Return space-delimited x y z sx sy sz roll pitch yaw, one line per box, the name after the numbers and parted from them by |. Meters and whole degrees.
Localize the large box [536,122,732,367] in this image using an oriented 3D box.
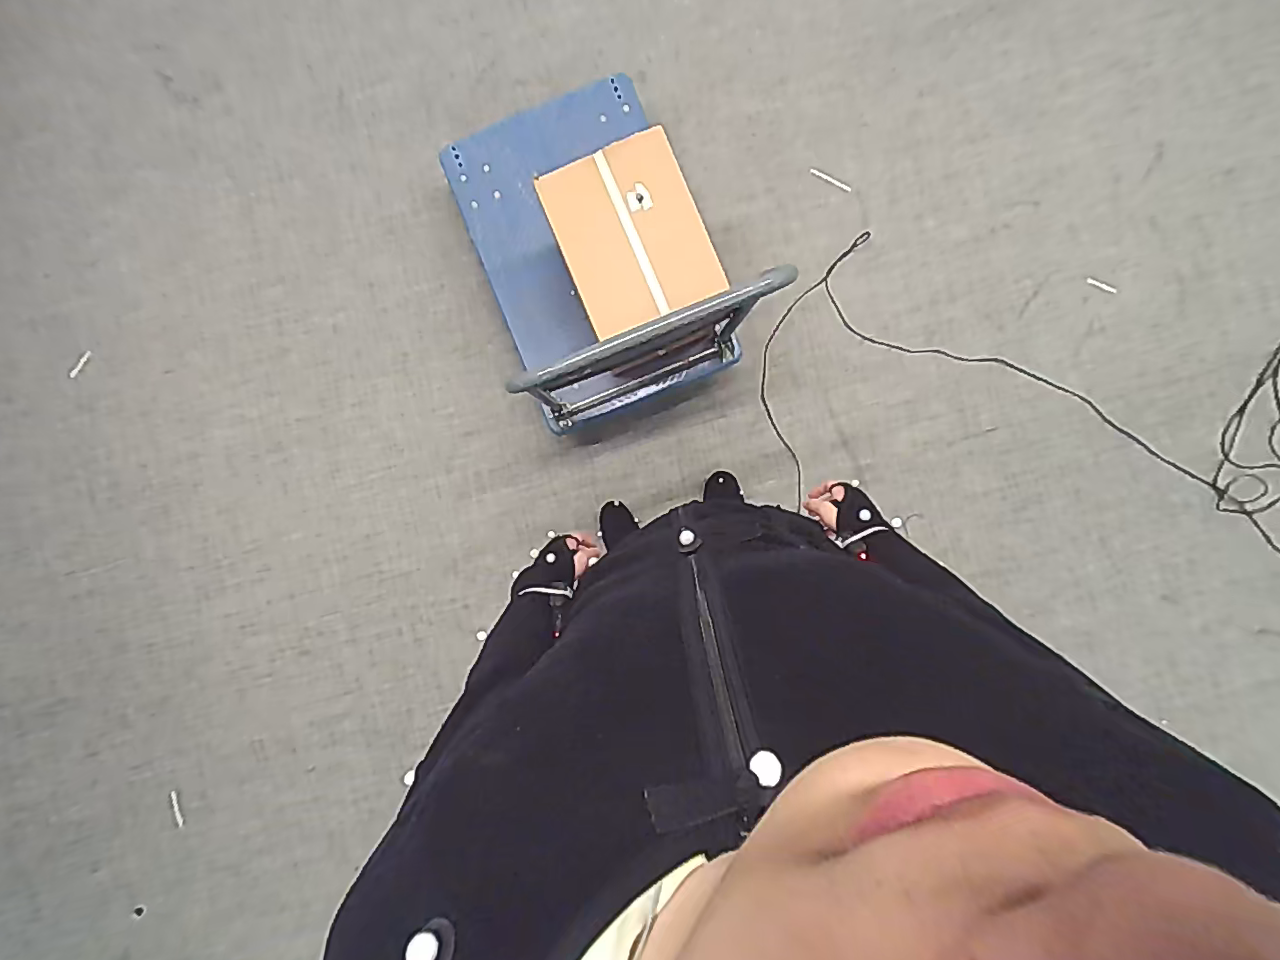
-0.009 -0.547 1.338 0.320 0.320 0.408 -23 89 1 | large box
